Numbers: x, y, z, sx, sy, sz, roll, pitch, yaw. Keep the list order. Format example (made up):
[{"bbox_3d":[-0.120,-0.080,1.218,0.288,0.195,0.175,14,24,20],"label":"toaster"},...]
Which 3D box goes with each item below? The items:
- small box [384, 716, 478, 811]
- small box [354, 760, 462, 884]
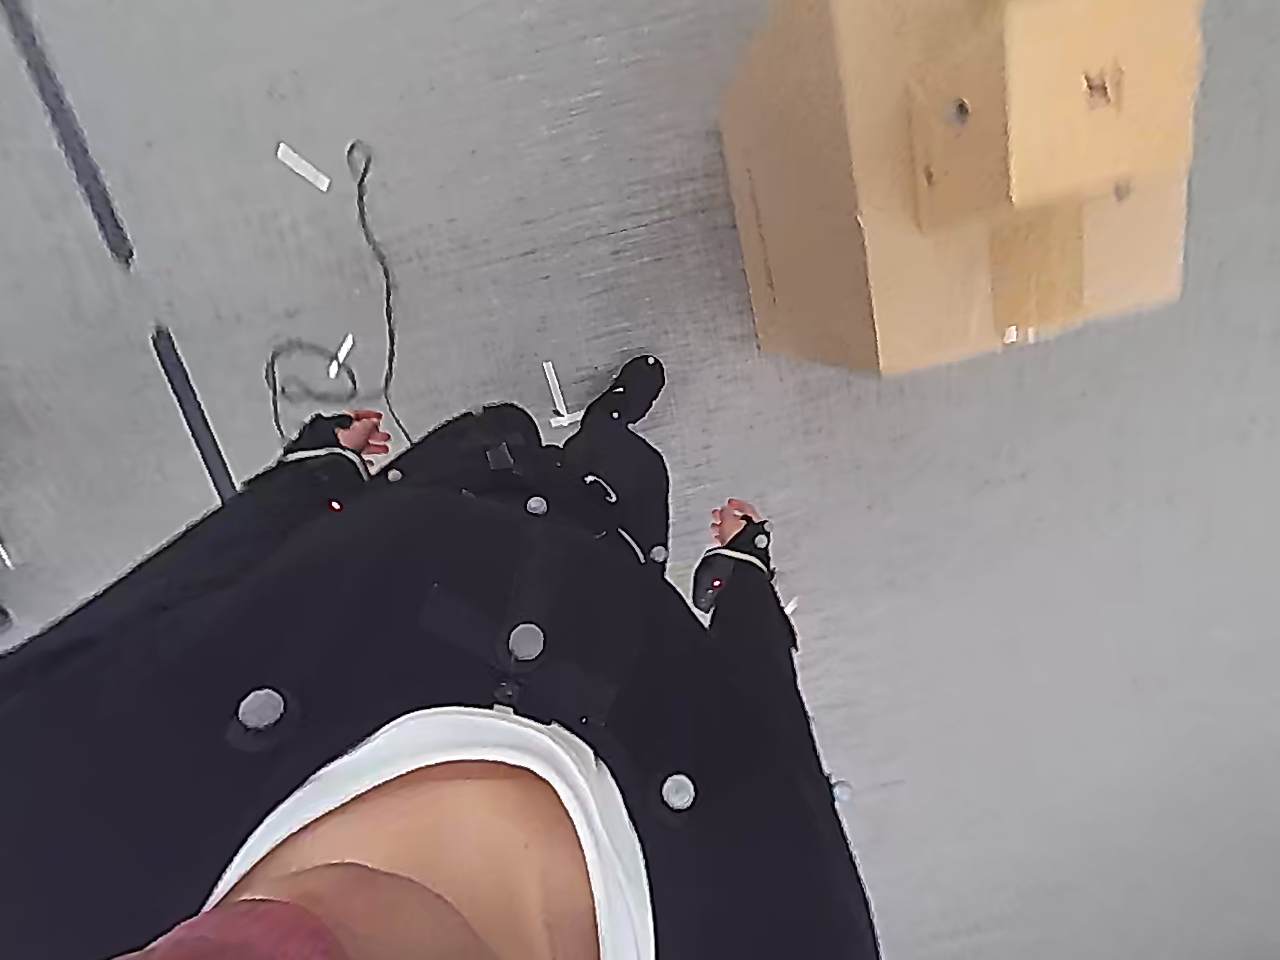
[{"bbox_3d":[-0.558,0.781,1.472,0.168,0.176,0.179,-12,104,0],"label":"small box"},{"bbox_3d":[-0.551,0.823,1.313,0.168,0.176,0.179,-14,105,0],"label":"small box"}]
